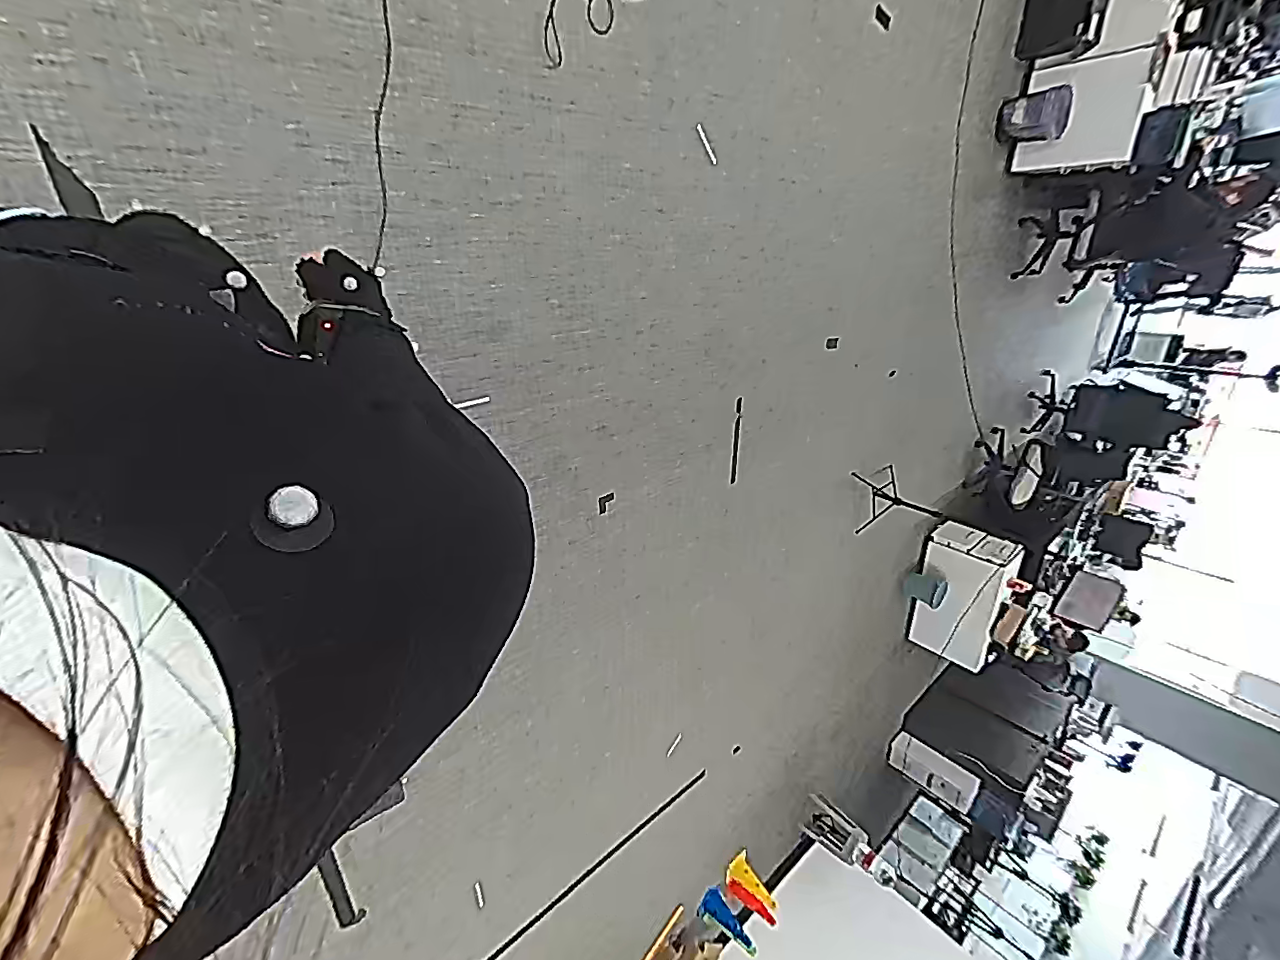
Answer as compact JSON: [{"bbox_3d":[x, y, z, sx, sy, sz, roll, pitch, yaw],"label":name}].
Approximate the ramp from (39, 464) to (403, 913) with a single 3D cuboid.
[{"bbox_3d":[-0.929,0.493,1.305,0.509,0.206,0.991,-18,118,-36],"label":"ramp"}]
